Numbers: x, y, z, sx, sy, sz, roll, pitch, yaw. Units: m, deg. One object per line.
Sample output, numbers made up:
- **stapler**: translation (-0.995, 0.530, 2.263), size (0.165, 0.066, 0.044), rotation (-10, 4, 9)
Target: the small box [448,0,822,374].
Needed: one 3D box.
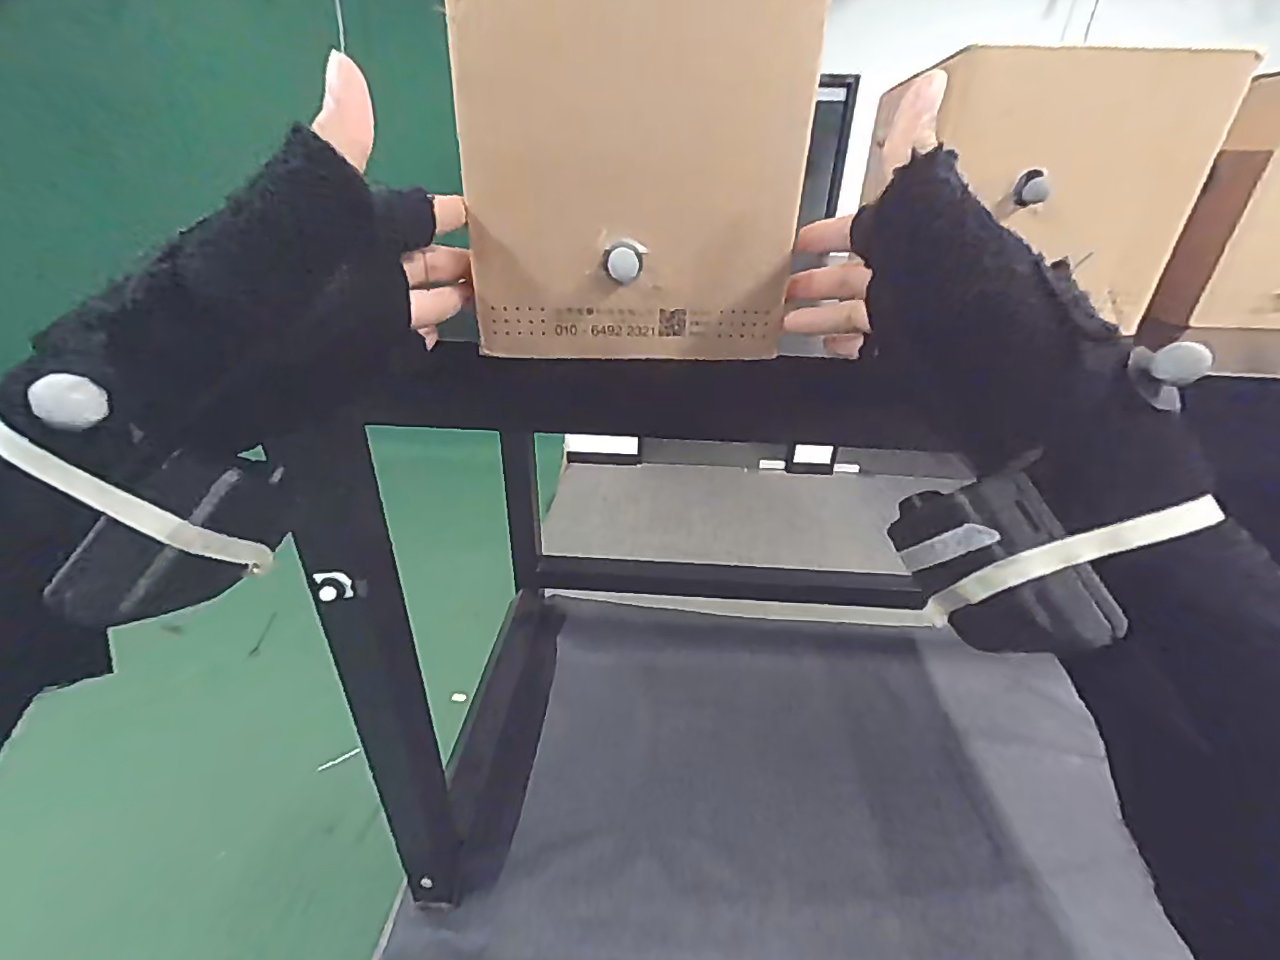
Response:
- **small box**: translation (-0.010, -0.174, 0.340), size (0.168, 0.176, 0.179), rotation (-1, 29, -5)
